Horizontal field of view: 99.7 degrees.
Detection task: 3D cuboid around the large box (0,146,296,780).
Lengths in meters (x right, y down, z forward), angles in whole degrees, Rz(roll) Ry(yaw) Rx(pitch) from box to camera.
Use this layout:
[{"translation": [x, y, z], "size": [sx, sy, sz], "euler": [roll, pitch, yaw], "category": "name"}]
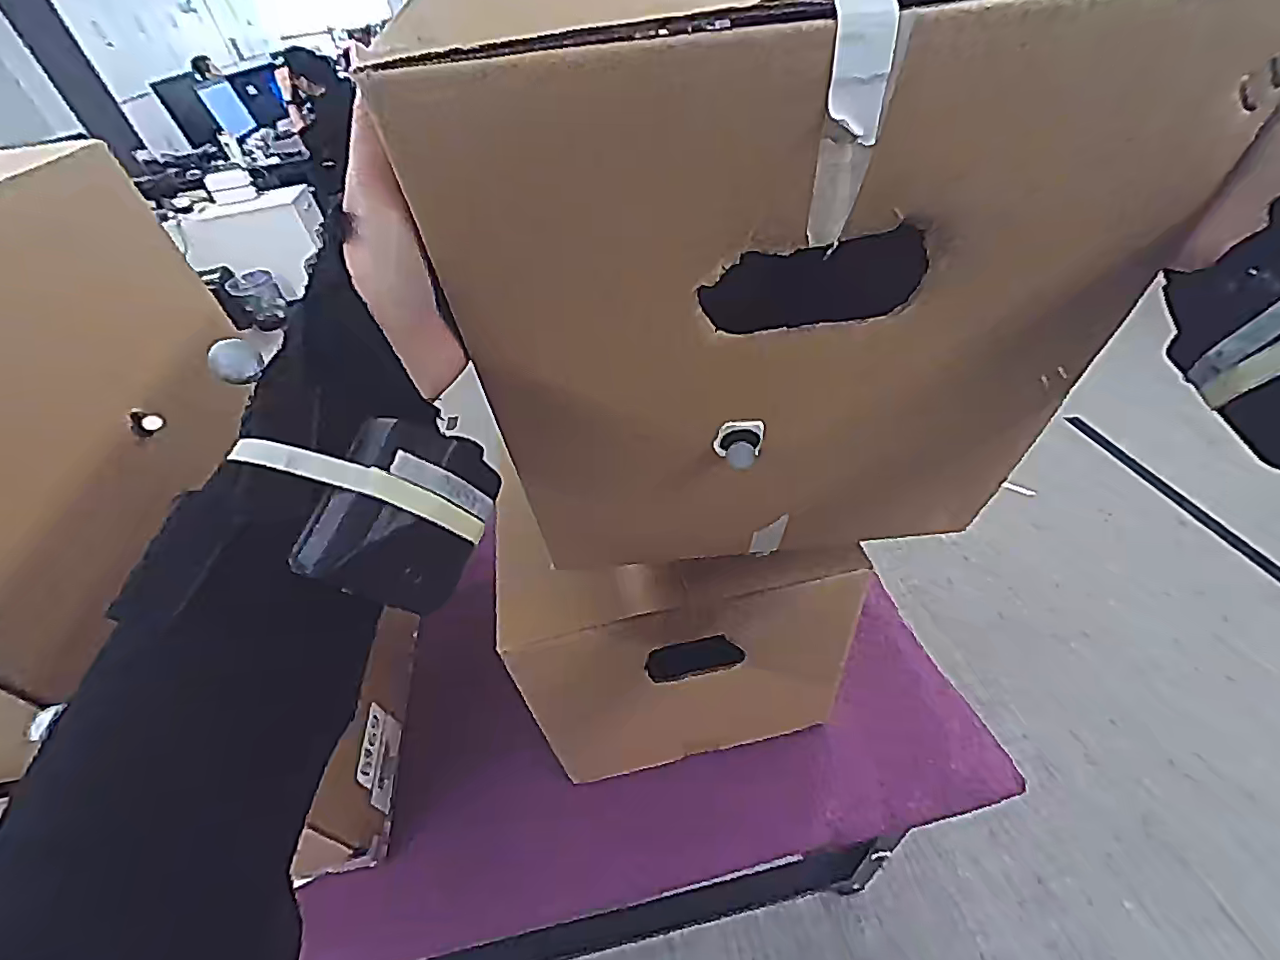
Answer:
[{"translation": [-0.543, -0.017, 0.419], "size": [0.320, 0.320, 0.408], "euler": [-14, 44, -3], "category": "large box"}]
